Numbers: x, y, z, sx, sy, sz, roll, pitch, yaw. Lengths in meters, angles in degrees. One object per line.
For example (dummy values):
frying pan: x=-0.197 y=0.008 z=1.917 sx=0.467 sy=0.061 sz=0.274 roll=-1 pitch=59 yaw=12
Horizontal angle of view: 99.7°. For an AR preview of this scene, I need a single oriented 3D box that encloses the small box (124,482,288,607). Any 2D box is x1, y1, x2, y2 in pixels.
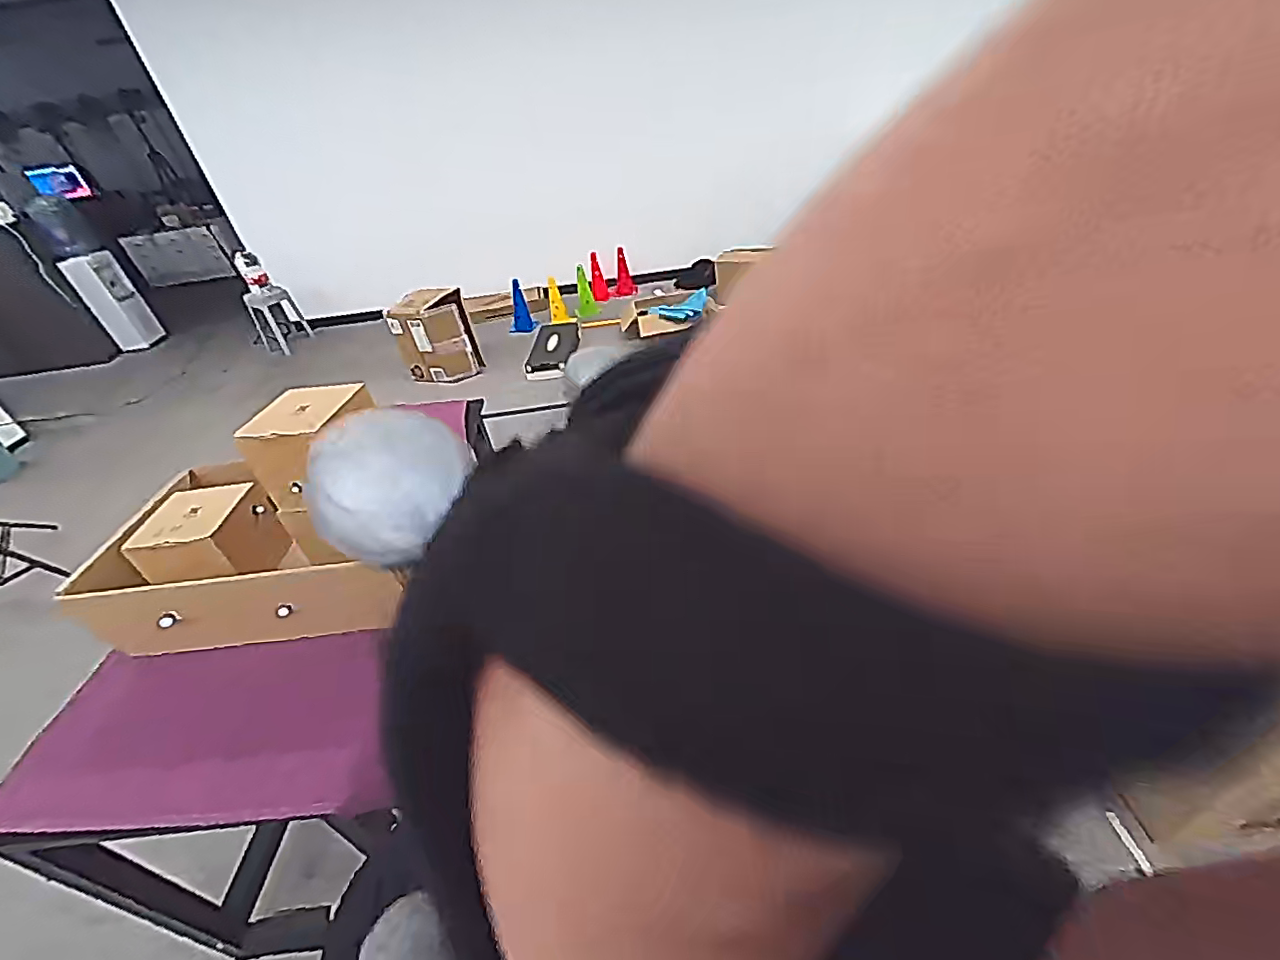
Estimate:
small box: x=-0.851 y=0.128 z=1.090 sx=0.168 sy=0.176 sz=0.179 roll=-8 pitch=37 yaw=-1
